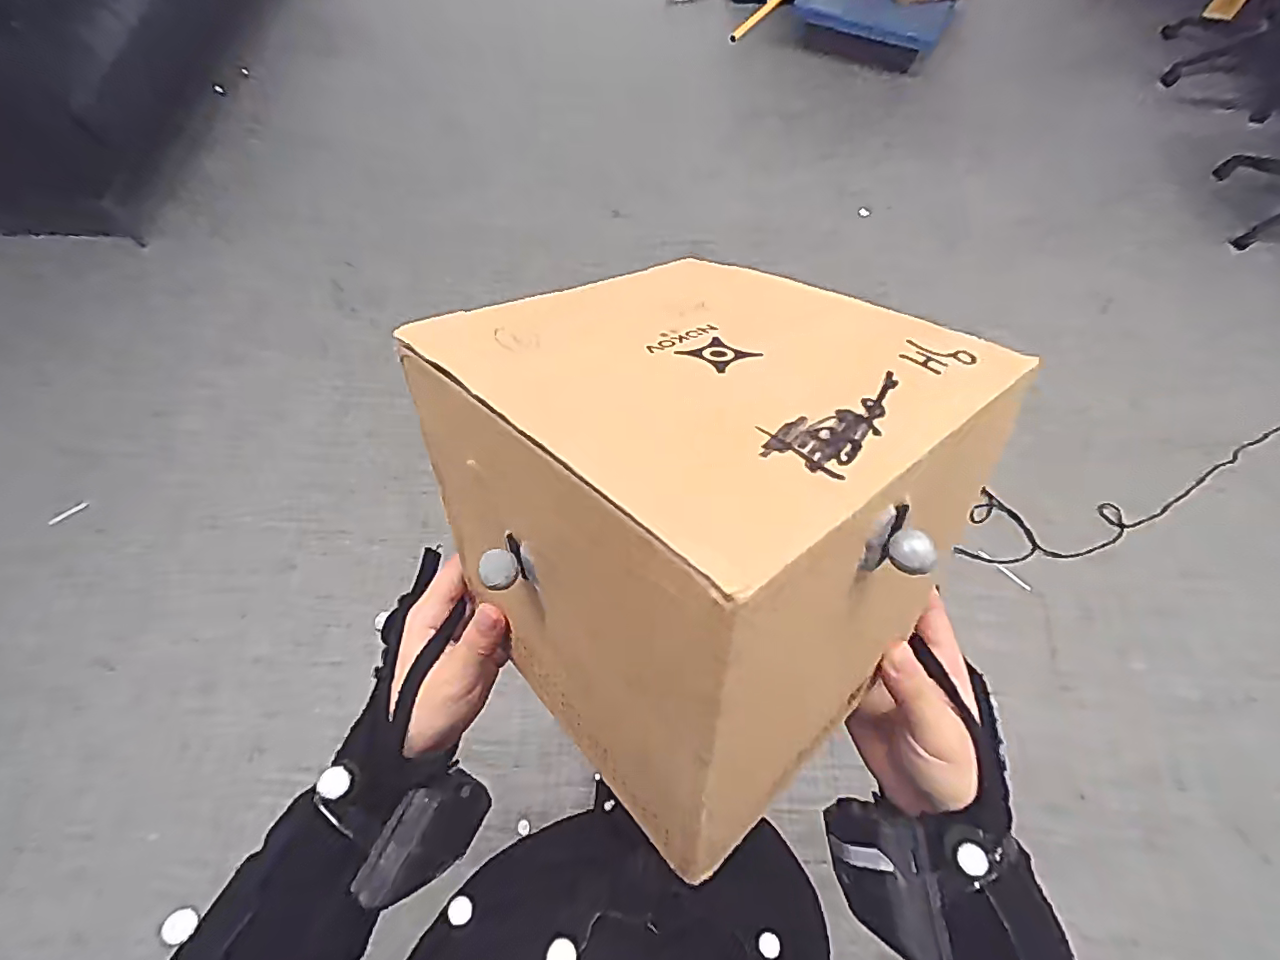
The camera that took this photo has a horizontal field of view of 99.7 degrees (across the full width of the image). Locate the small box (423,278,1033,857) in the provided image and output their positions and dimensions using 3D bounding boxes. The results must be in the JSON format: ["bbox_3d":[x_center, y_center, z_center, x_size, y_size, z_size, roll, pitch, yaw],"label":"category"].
[{"bbox_3d":[0.029,0.023,0.255,0.168,0.176,0.179,-30,46,-31],"label":"small box"}]
